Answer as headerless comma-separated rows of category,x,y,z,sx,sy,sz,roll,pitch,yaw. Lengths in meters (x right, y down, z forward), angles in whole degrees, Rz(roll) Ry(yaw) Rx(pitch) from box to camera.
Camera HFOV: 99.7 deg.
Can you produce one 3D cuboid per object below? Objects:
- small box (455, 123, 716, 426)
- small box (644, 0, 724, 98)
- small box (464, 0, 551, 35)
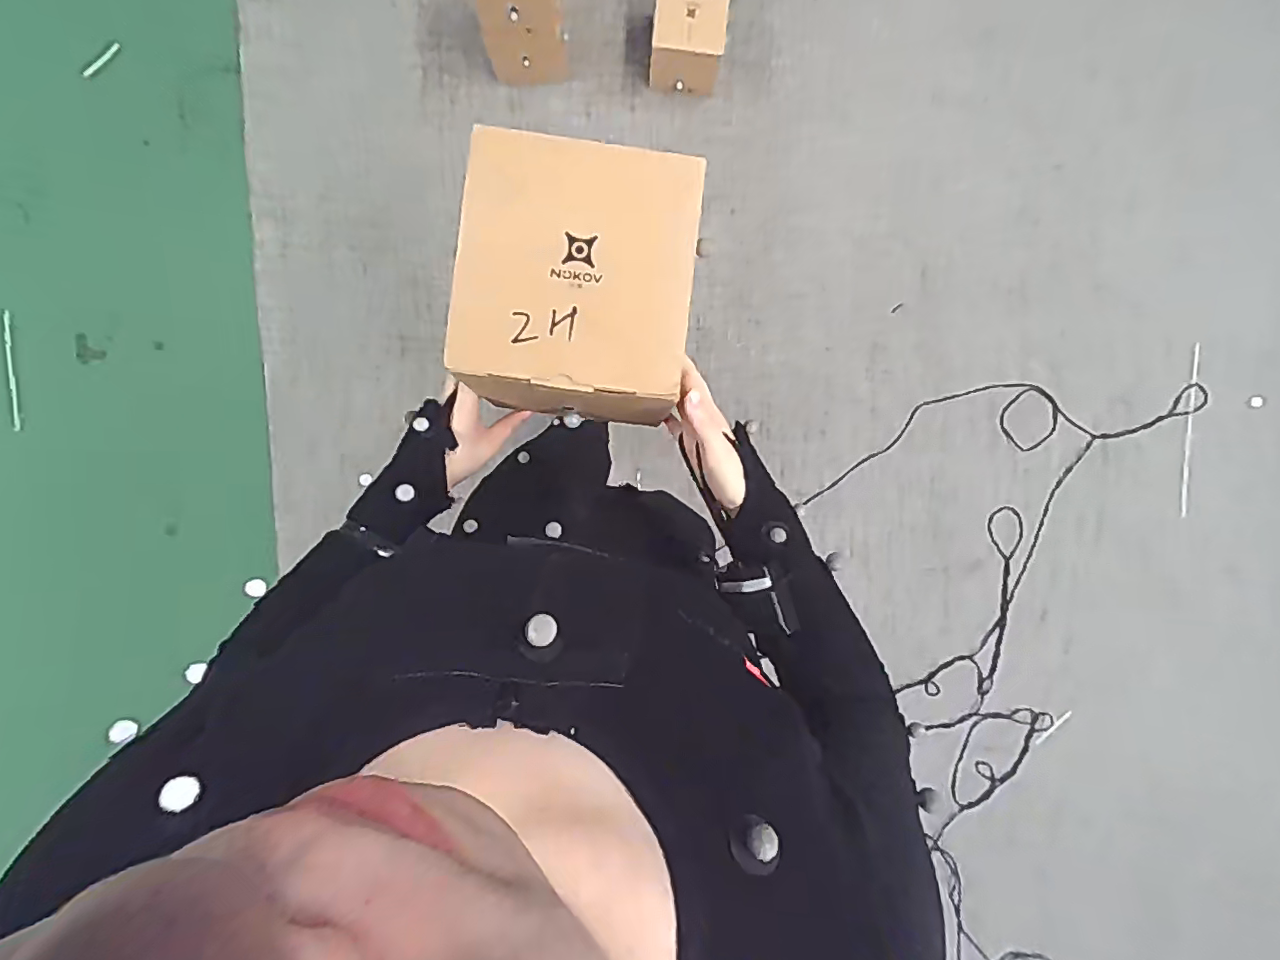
small box,-0.041,-0.151,0.458,0.168,0.176,0.179,7,88,-3
small box,0.100,-1.057,1.284,0.168,0.176,0.179,6,97,-2
small box,-0.279,-1.056,1.108,0.168,0.176,0.179,-3,97,-1
